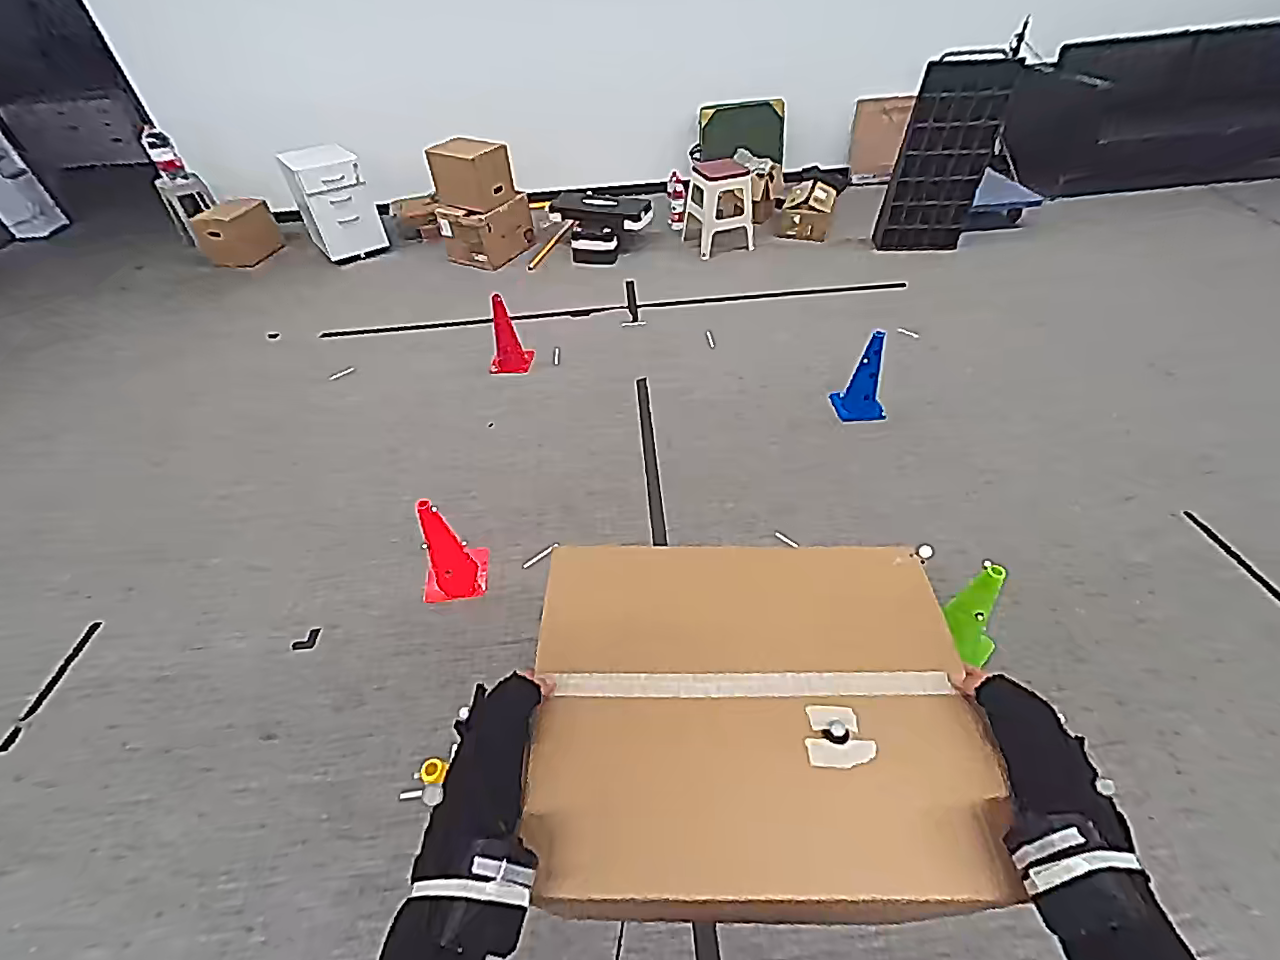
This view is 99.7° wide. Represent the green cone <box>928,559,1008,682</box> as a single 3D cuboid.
[{"bbox_3d":[0.888,0.340,1.448,0.202,0.368,0.200,-33,53,-28],"label":"green cone"}]

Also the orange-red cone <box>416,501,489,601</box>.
[{"bbox_3d":[-0.623,0.197,1.699,0.198,0.360,0.199,-8,46,-2],"label":"orange-red cone"}]

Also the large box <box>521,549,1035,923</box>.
[{"bbox_3d":[0.103,0.294,0.618,0.408,0.320,0.320,0,48,0],"label":"large box"}]

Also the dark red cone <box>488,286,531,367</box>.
[{"bbox_3d":[-0.658,-0.738,2.603,0.201,0.394,0.202,0,45,2],"label":"dark red cone"}]

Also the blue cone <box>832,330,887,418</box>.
[{"bbox_3d":[0.950,-0.449,2.258,0.192,0.380,0.193,-2,45,0],"label":"blue cone"}]
